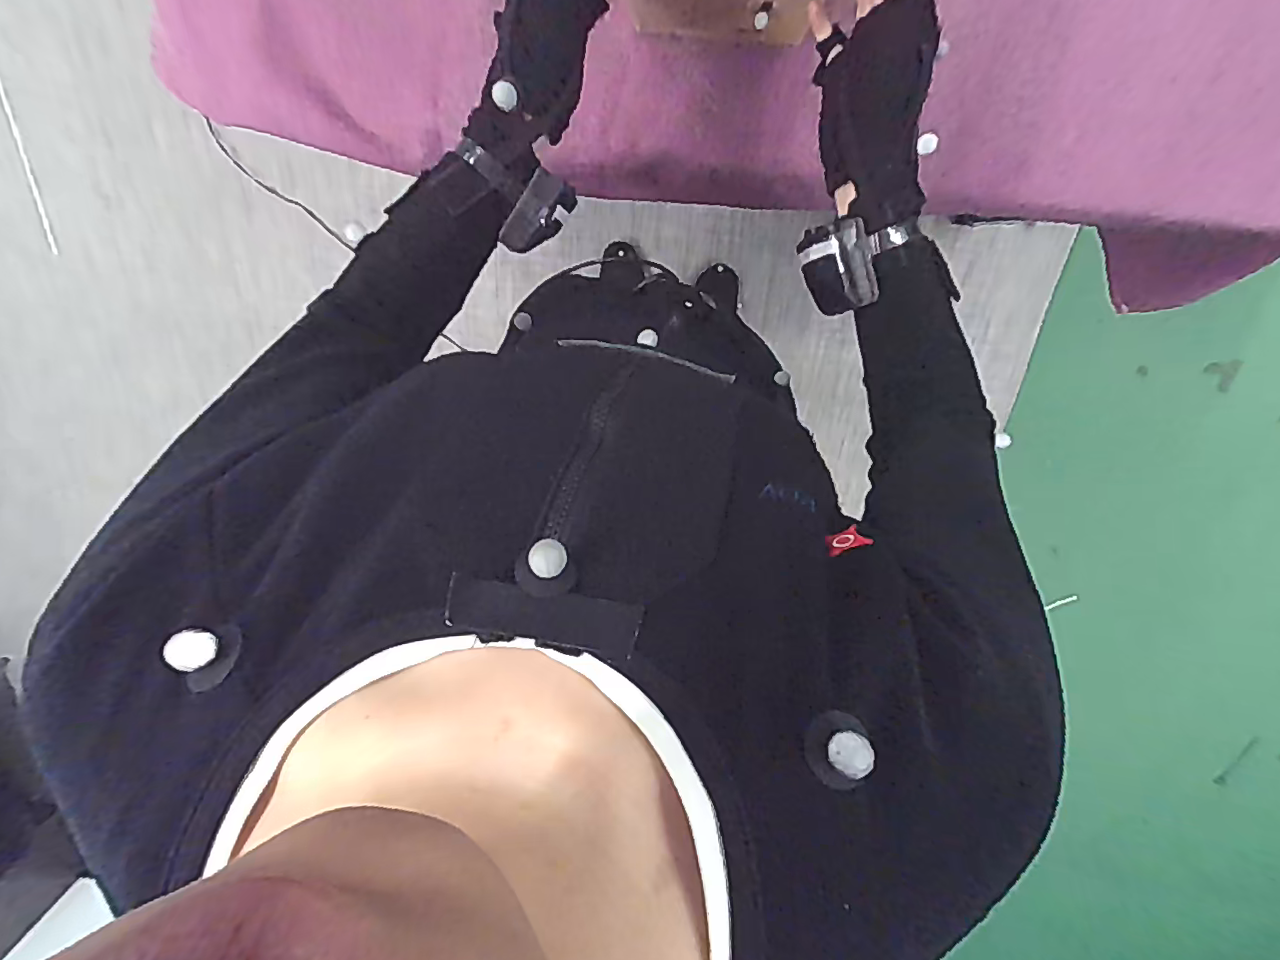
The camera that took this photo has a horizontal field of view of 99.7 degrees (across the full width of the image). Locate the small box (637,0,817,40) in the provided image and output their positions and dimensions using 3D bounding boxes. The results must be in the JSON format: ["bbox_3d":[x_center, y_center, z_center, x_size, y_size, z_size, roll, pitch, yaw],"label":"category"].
[{"bbox_3d":[0.081,-0.488,0.433,0.168,0.176,0.179,7,114,2],"label":"small box"}]
